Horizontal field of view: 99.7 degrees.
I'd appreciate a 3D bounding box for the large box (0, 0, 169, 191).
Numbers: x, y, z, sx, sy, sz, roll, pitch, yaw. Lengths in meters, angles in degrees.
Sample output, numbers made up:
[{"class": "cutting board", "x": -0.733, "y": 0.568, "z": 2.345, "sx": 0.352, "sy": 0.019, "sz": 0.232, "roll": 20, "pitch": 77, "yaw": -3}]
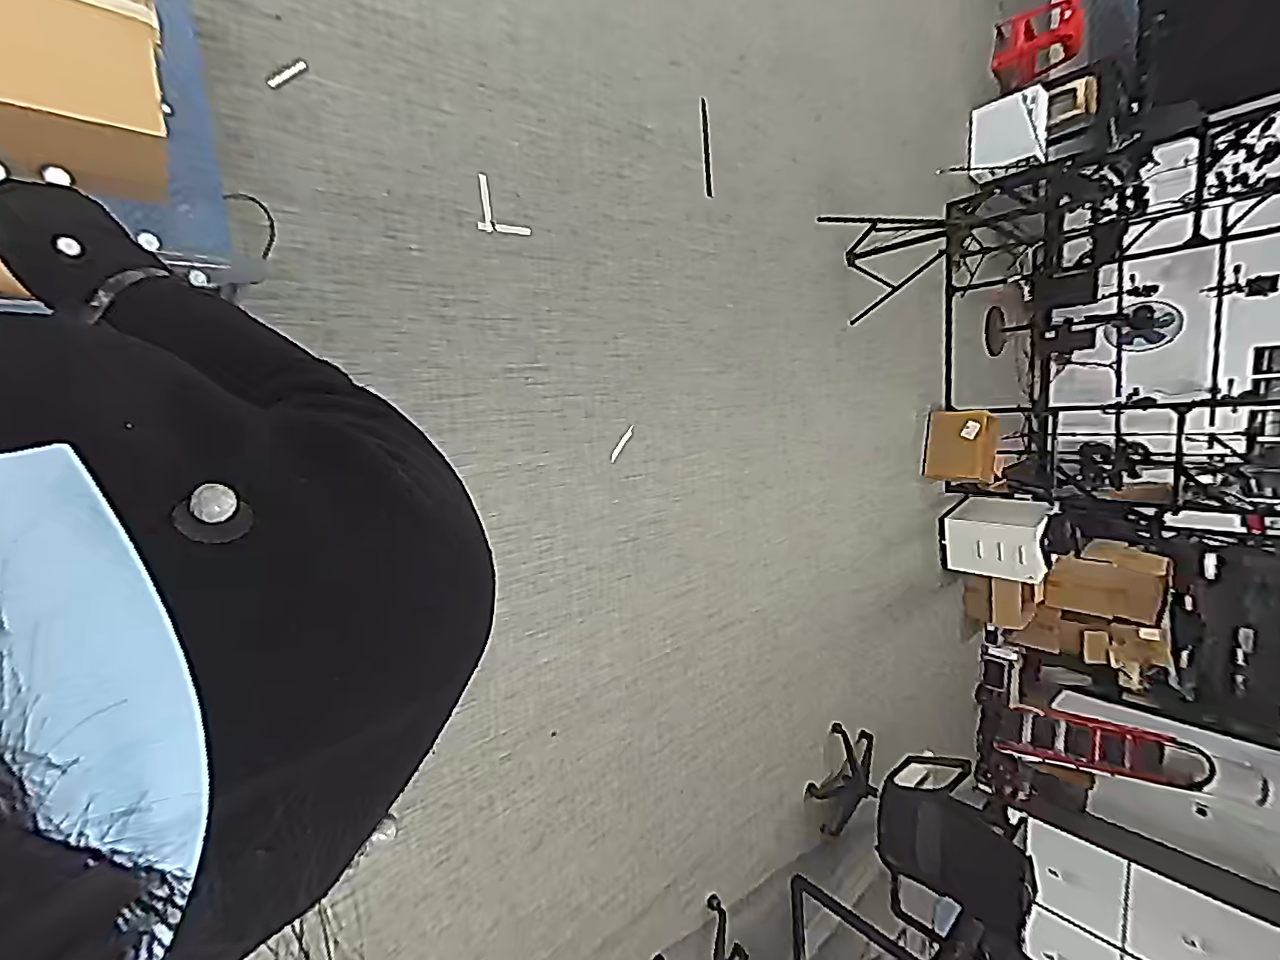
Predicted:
[{"class": "large box", "x": -0.945, "y": -0.642, "z": 0.748, "sx": 0.408, "sy": 0.320, "sz": 0.320, "roll": -9, "pitch": 99, "yaw": -39}]
